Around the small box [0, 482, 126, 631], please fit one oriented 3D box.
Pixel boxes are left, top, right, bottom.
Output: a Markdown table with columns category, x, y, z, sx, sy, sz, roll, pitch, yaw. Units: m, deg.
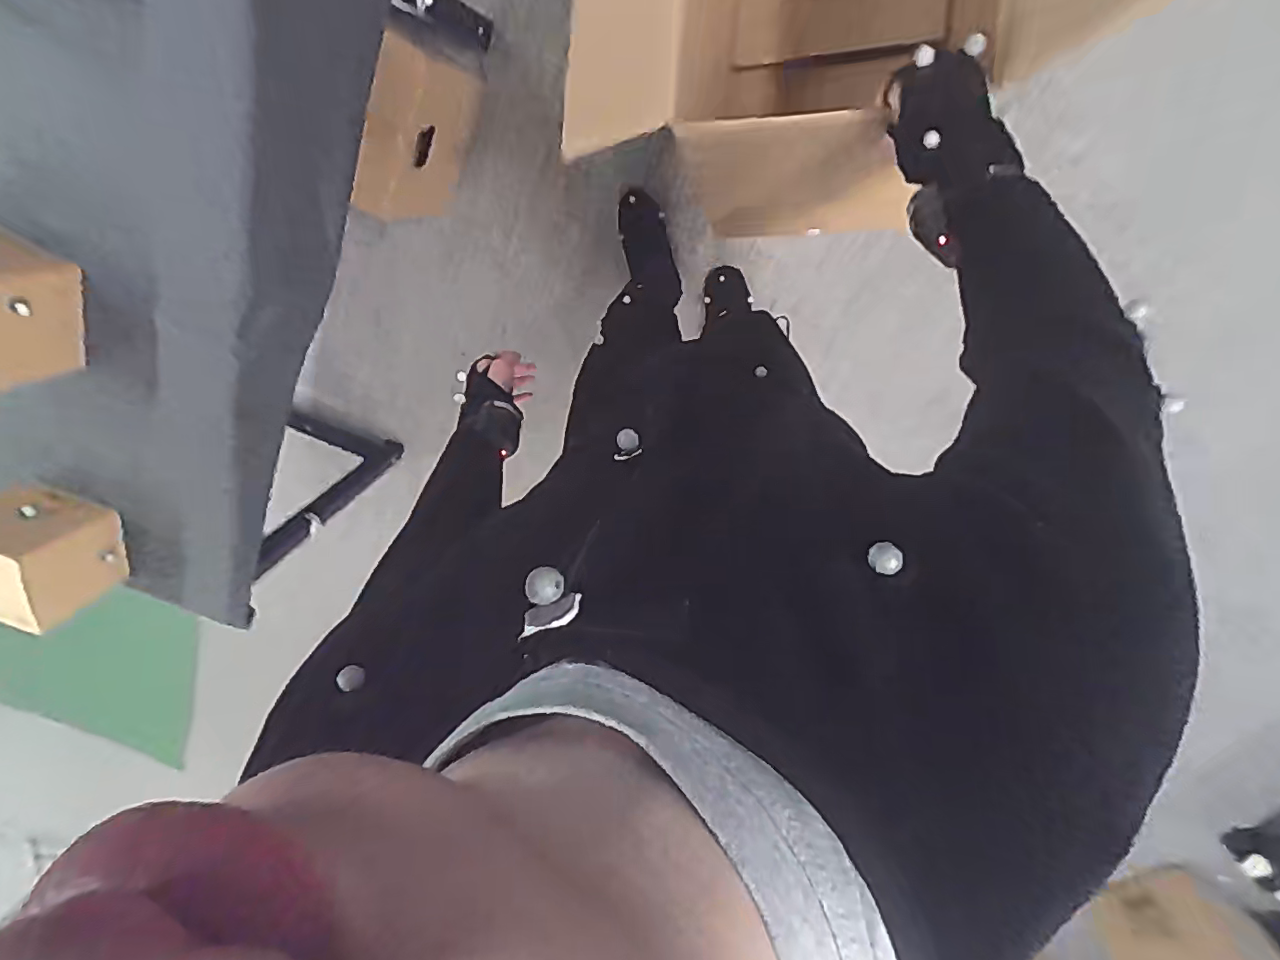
| category | x | y | z | sx | sy | sz | roll | pitch | yaw |
| --- | --- | --- | --- | --- | --- | --- | --- | --- | --- |
| small box | -1.084 | 0.128 | 0.968 | 0.168 | 0.176 | 0.179 | 19 | 118 | -2 |

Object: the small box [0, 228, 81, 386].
| category | x | y | z | sx | sy | sz | roll | pitch | yaw |
| --- | --- | --- | --- | --- | --- | --- | --- | --- | --- |
| small box | -0.937 | -0.250 | 0.747 | 0.168 | 0.176 | 0.179 | 27 | 120 | -5 |
